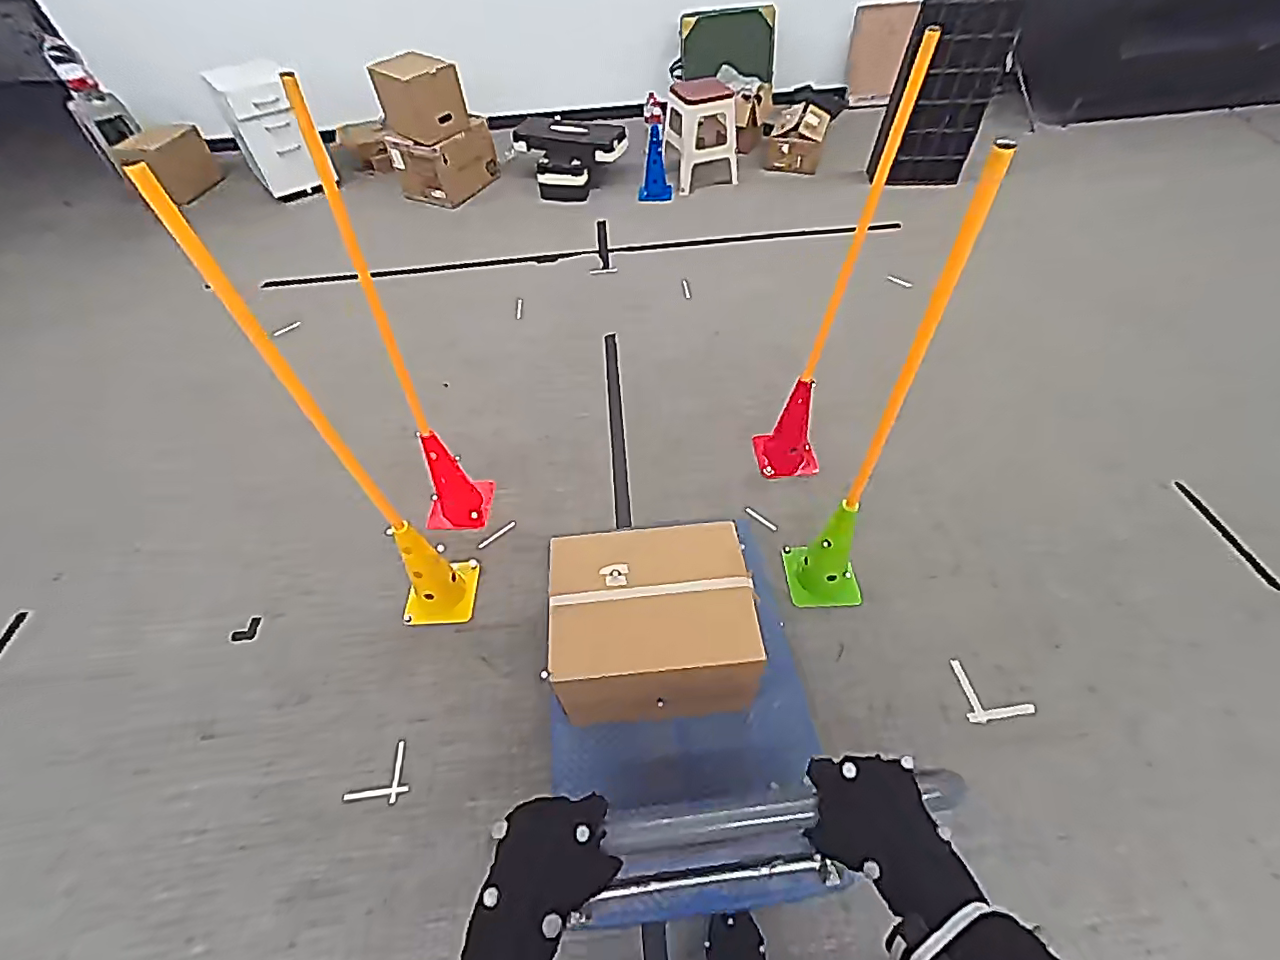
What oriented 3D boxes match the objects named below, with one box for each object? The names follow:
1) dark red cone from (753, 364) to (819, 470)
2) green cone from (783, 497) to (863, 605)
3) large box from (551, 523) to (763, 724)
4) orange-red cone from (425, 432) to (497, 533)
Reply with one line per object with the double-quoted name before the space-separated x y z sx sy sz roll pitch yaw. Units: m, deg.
"dark red cone" 0.509 -0.214 1.776 0.201 0.394 0.202 -5 51 -3
"green cone" 0.535 0.173 1.484 0.202 0.368 0.200 -2 51 0
"large box" 0.029 0.327 1.206 0.408 0.320 0.320 -6 51 0
"orange-red cone" -0.606 -0.015 1.712 0.198 0.360 0.199 1 50 3
